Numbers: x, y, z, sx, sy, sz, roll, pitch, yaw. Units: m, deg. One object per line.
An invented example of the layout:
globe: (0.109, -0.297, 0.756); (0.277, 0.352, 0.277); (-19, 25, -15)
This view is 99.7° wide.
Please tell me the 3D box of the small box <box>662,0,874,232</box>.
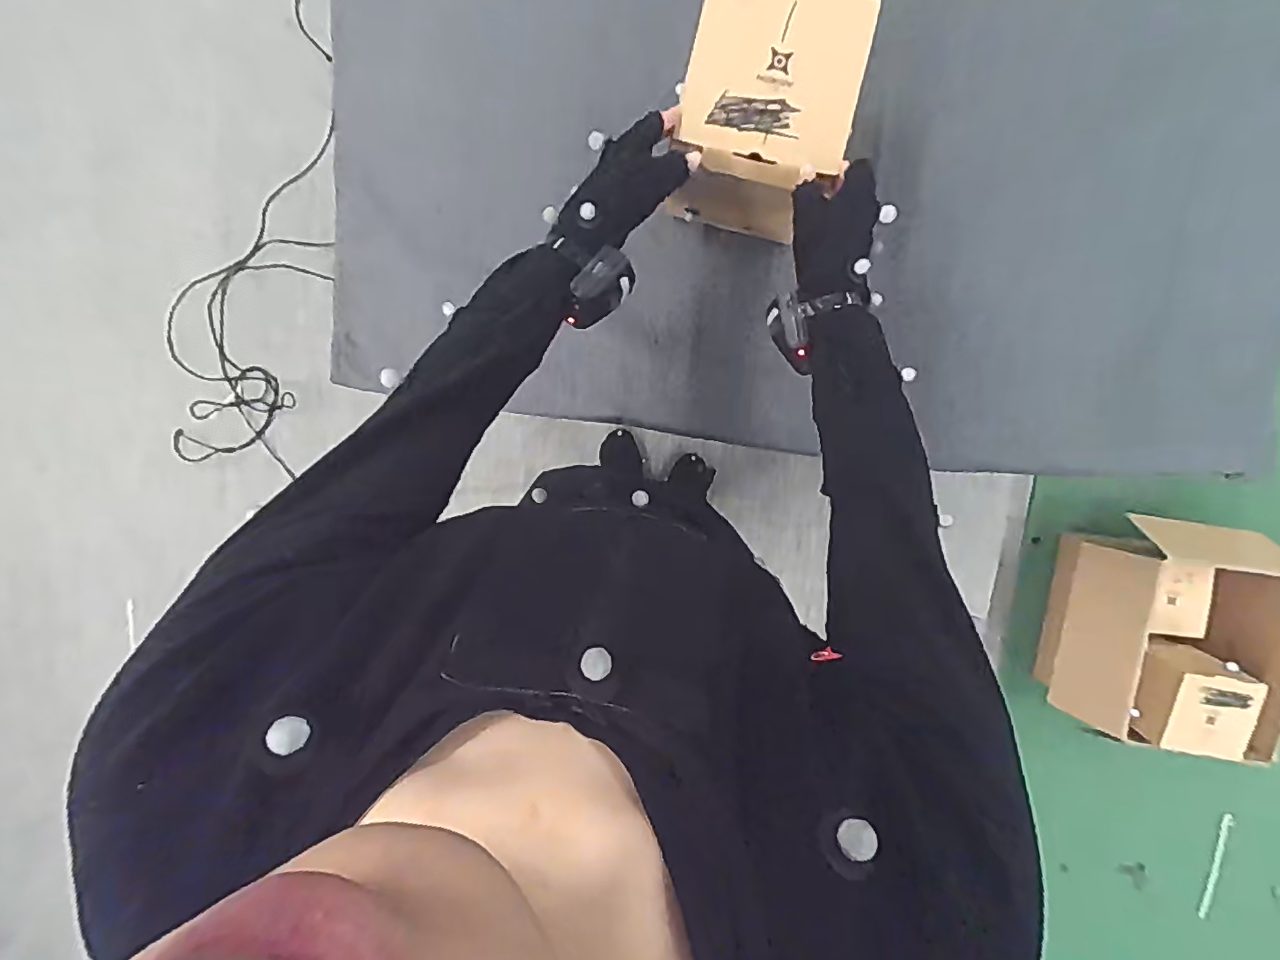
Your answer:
small box: (0.125, -0.401, 0.595); (0.168, 0.176, 0.179); (14, 95, 0)
